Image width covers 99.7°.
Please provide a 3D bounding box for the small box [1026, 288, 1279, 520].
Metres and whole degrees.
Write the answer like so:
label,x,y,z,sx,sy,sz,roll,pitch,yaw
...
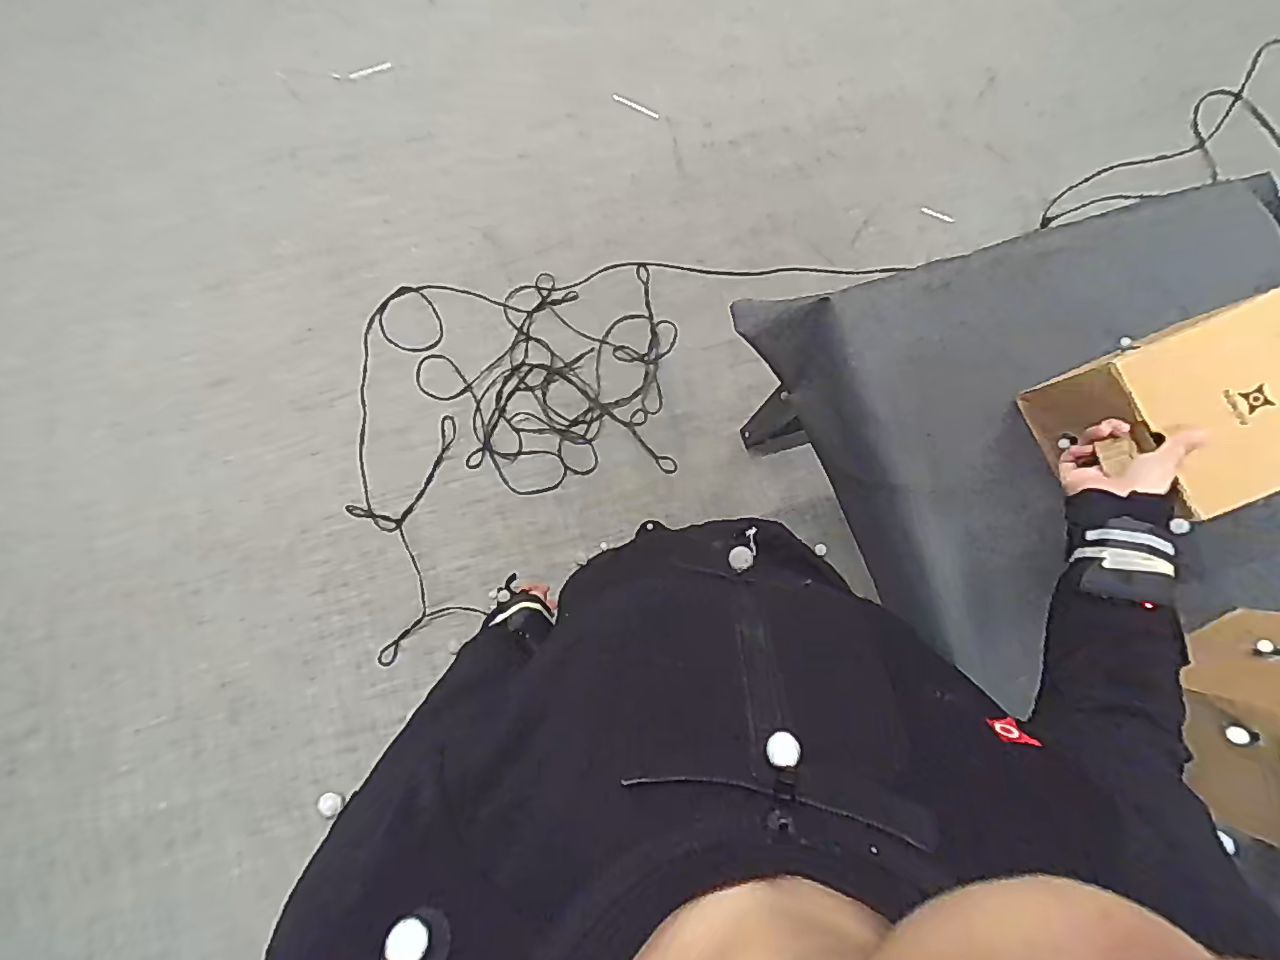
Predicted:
label,x,y,z,sx,sy,sz,roll,pitch,yaw
small box,0.560,-0.071,0.559,0.179,0.176,0.168,-26,85,7
